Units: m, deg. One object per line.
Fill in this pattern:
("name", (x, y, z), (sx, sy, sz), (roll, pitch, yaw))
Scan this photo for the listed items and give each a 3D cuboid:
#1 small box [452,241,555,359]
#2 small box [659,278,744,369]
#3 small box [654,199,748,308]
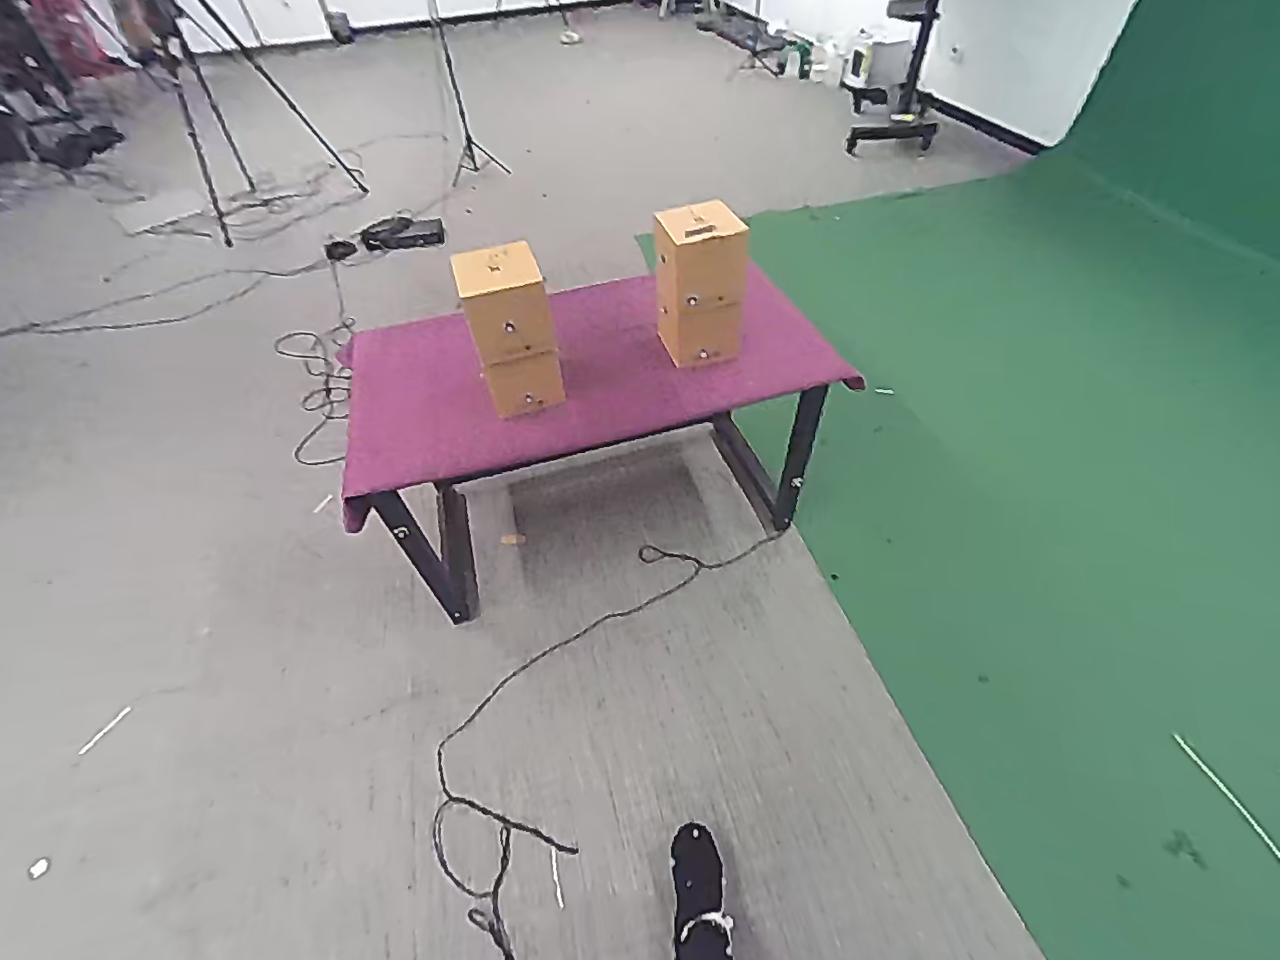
("small box", (-0.287, -0.377, 1.155), (0.168, 0.176, 0.179), (-16, 51, -10))
("small box", (0.150, -0.410, 1.369), (0.168, 0.176, 0.179), (-14, 50, -6))
("small box", (0.139, -0.514, 1.243), (0.168, 0.176, 0.179), (-15, 48, -6))
